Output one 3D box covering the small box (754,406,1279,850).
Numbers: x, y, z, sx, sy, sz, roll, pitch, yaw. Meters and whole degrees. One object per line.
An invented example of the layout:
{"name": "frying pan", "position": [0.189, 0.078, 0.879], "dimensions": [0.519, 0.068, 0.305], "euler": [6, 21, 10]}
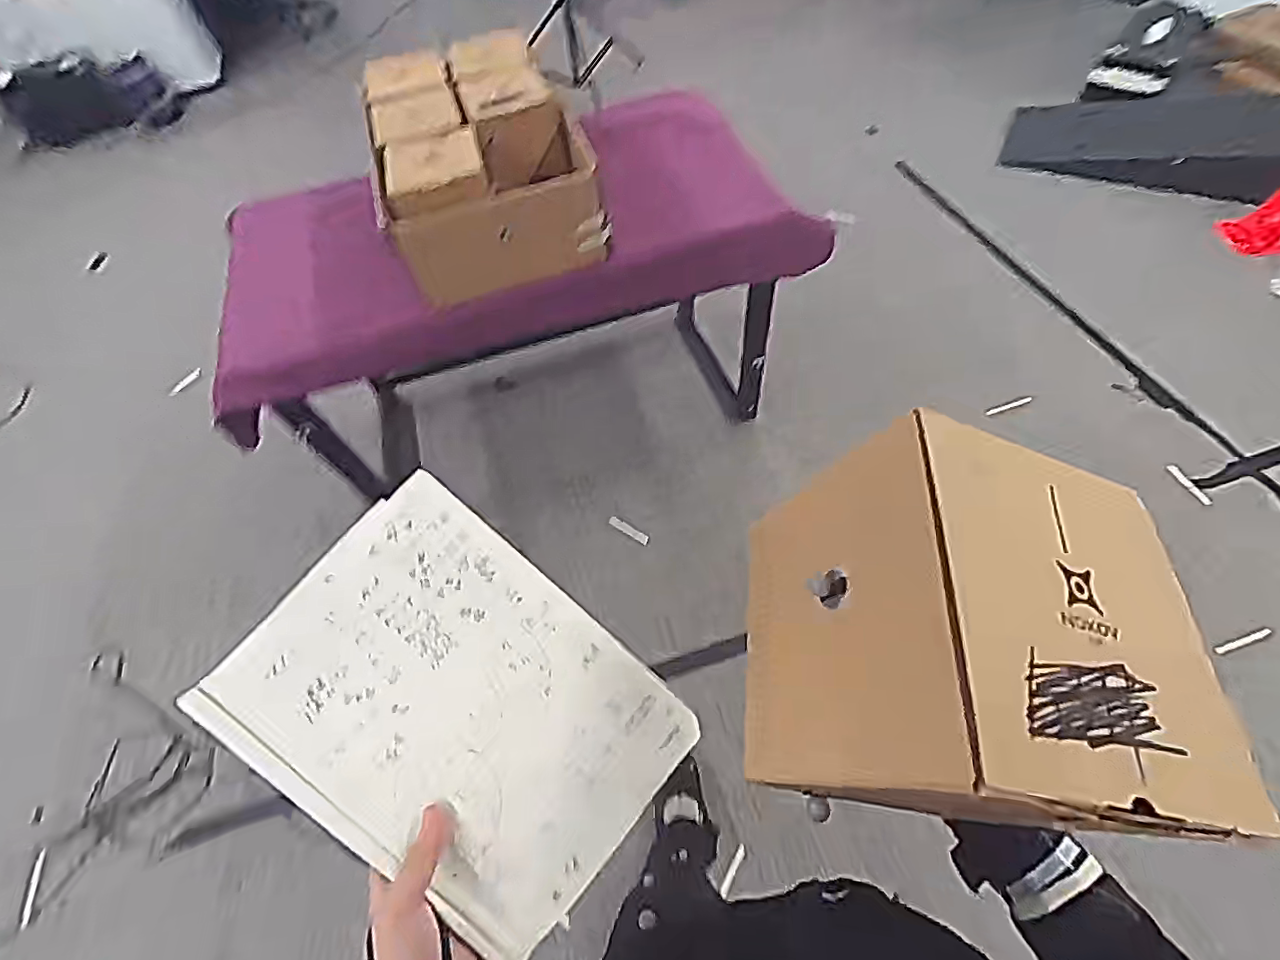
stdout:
{"name": "small box", "position": [0.179, 0.093, 0.317], "dimensions": [0.168, 0.176, 0.179], "euler": [17, 58, -13]}
